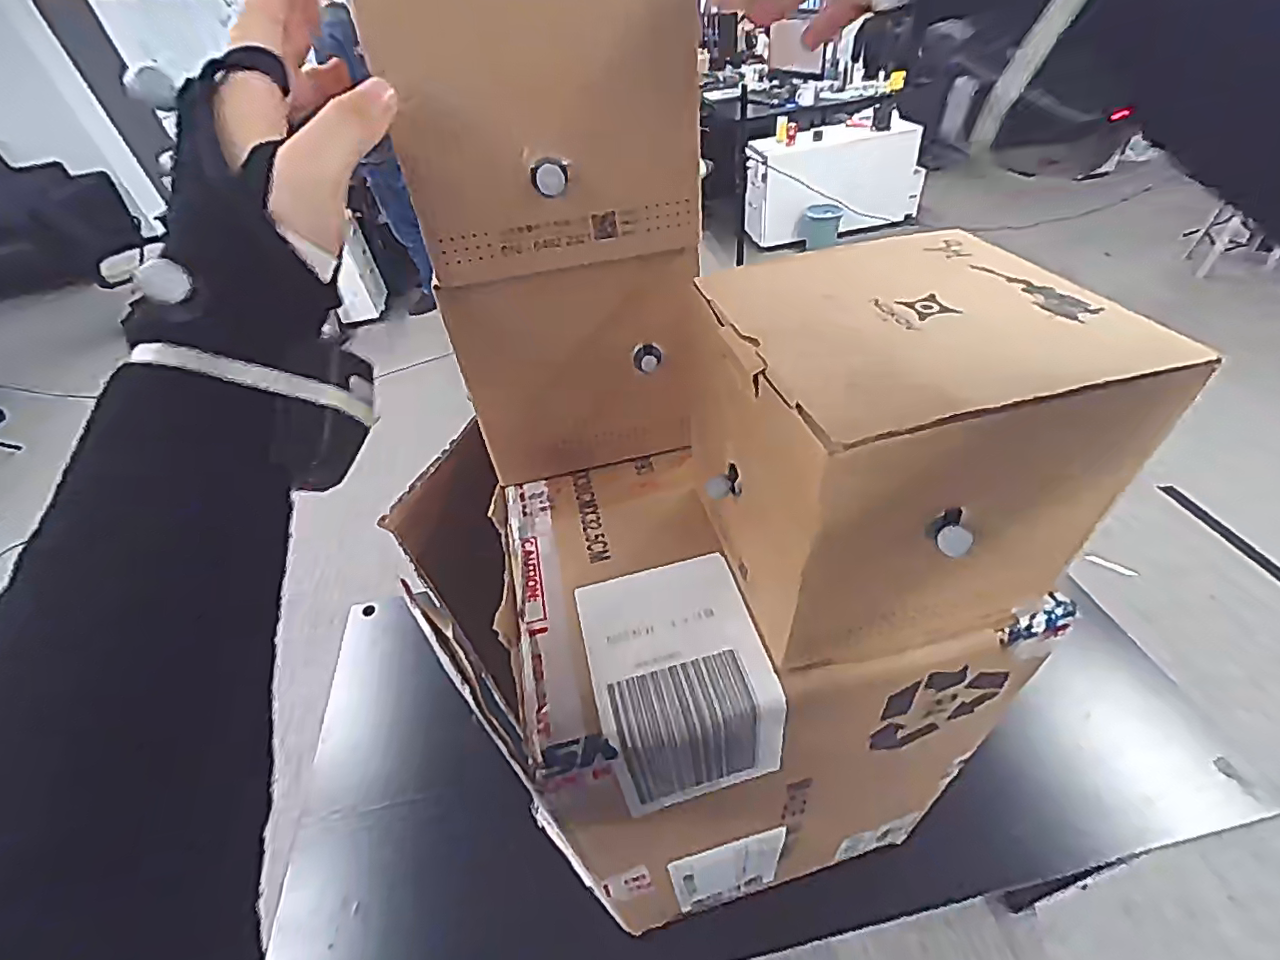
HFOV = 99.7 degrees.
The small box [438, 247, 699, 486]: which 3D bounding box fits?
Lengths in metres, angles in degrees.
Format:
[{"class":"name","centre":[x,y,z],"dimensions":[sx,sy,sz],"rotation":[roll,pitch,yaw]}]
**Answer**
[{"class":"small box","centre":[-0.054,-0.120,0.463],"dimensions":[0.179,0.176,0.168],"rotation":[-14,40,-6]}]

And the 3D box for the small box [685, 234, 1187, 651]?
[{"class":"small box","centre":[0.137,-0.022,0.328],"dimensions":[0.179,0.176,0.168],"rotation":[-14,45,-6]}]

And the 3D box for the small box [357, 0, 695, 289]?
[{"class":"small box","centre":[-0.067,-0.242,0.353],"dimensions":[0.168,0.176,0.179],"rotation":[-13,40,-7]}]
